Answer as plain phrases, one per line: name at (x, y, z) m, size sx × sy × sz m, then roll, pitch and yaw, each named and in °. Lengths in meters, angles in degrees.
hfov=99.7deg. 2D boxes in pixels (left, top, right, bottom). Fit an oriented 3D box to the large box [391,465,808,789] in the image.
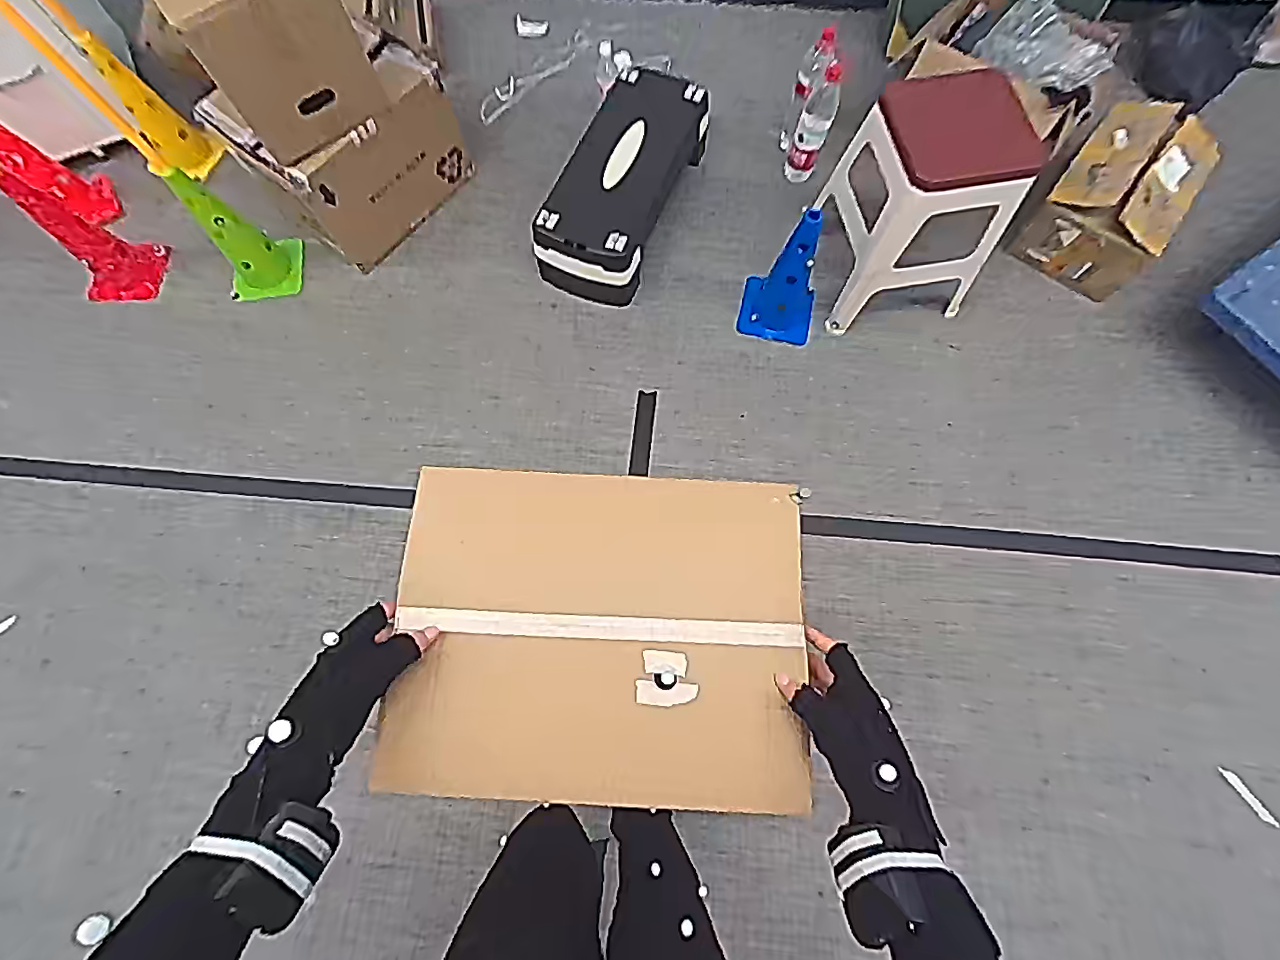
large box at (-0.038, 0.182, 0.694) m, size 0.408 × 0.320 × 0.320 m, roll 3°, pitch 74°, yaw -1°
